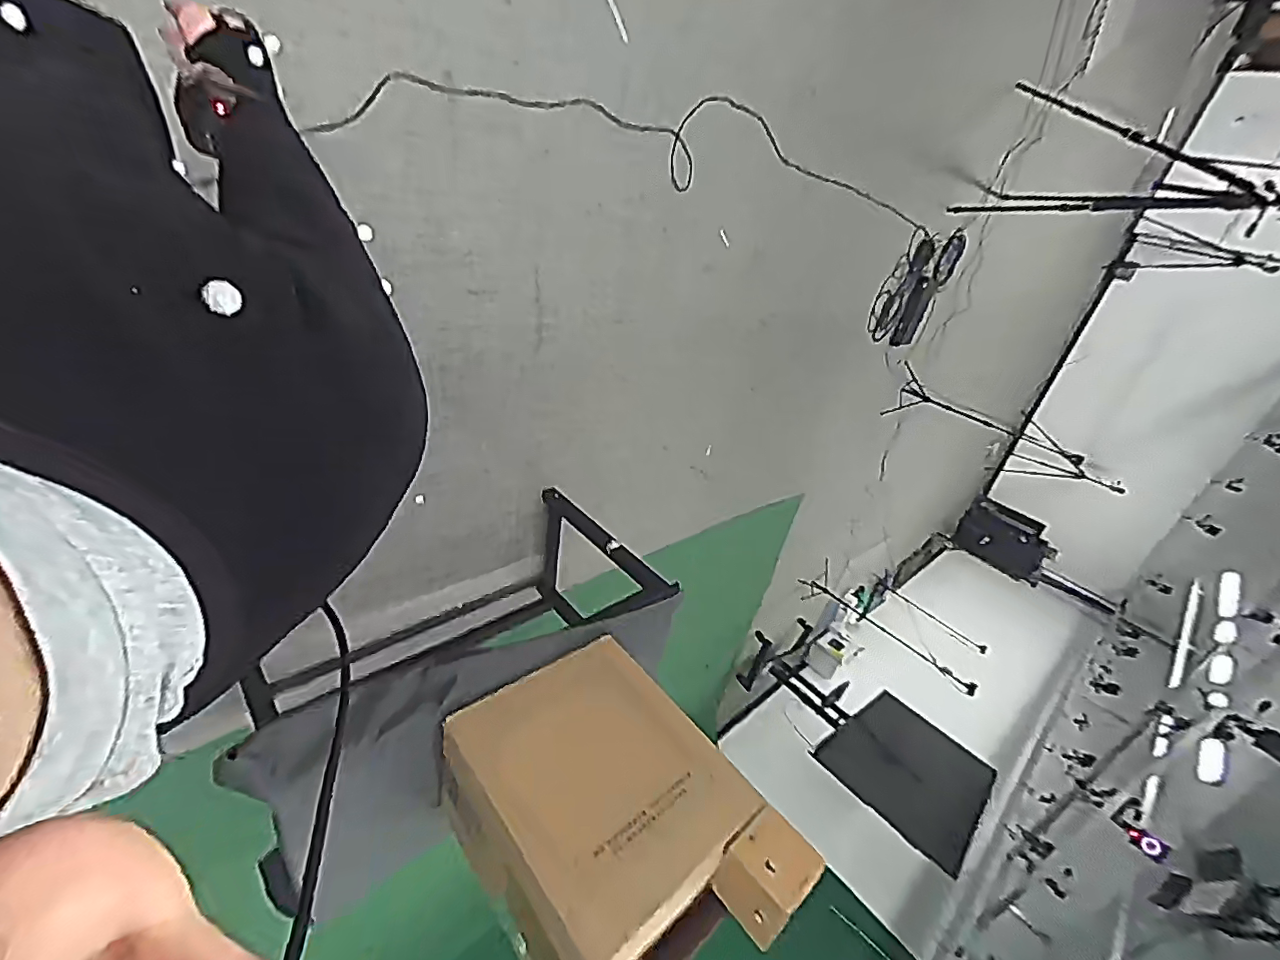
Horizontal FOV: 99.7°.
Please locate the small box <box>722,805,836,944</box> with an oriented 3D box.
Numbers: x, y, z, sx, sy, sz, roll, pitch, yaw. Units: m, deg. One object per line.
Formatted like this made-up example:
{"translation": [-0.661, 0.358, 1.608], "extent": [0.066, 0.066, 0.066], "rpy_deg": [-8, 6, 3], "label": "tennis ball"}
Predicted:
{"translation": [0.313, 0.895, 1.247], "extent": [0.168, 0.176, 0.179], "rpy_deg": [-17, 130, -42], "label": "small box"}
